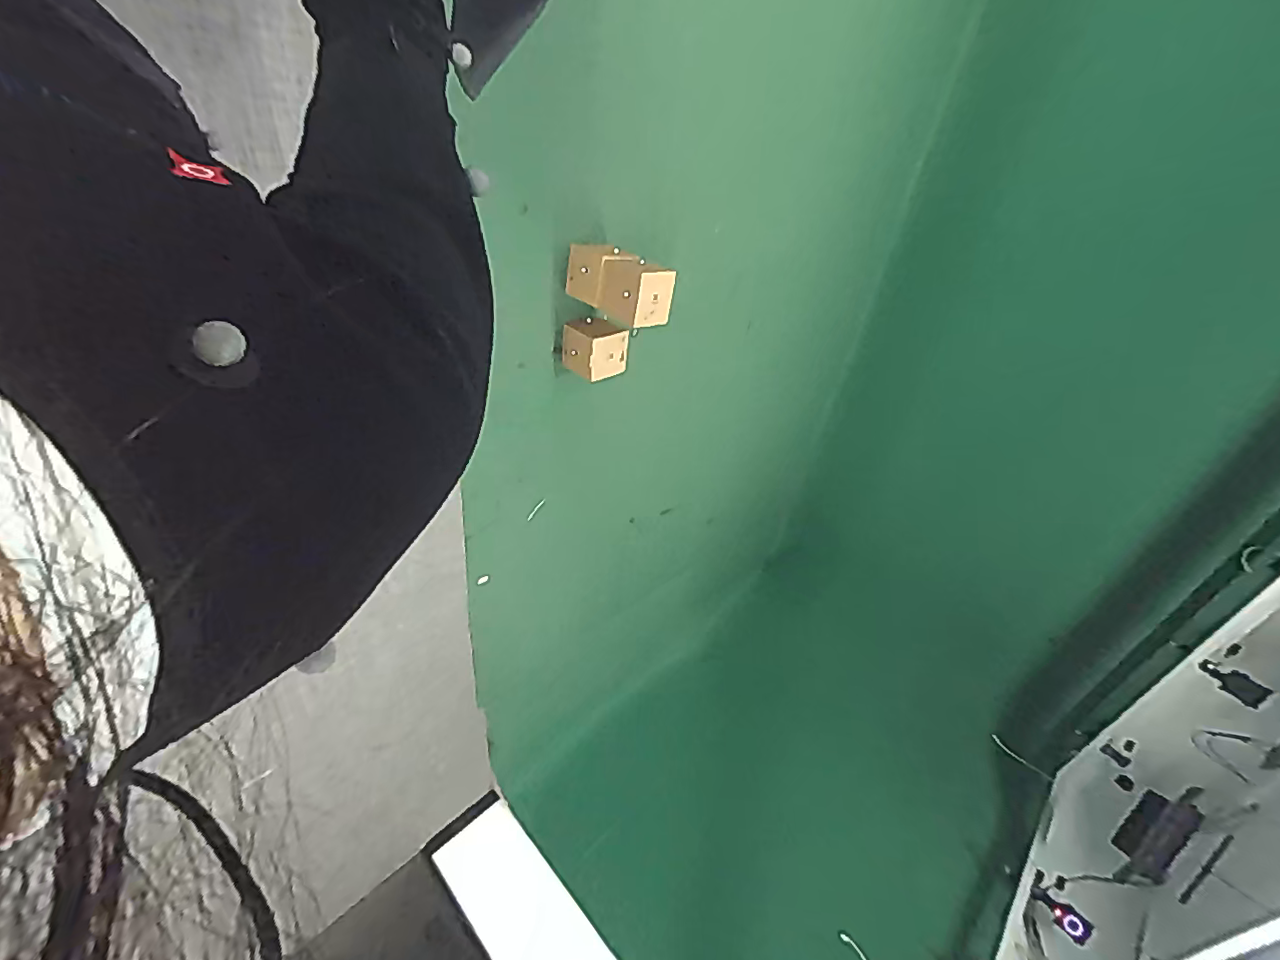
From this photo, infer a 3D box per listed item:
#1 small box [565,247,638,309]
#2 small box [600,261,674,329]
[{"bbox_3d":[-0.137,-0.695,1.853,0.179,0.176,0.168,-21,134,-43],"label":"small box"},{"bbox_3d":[-0.015,-0.613,1.777,0.168,0.176,0.179,-22,134,-42],"label":"small box"}]
